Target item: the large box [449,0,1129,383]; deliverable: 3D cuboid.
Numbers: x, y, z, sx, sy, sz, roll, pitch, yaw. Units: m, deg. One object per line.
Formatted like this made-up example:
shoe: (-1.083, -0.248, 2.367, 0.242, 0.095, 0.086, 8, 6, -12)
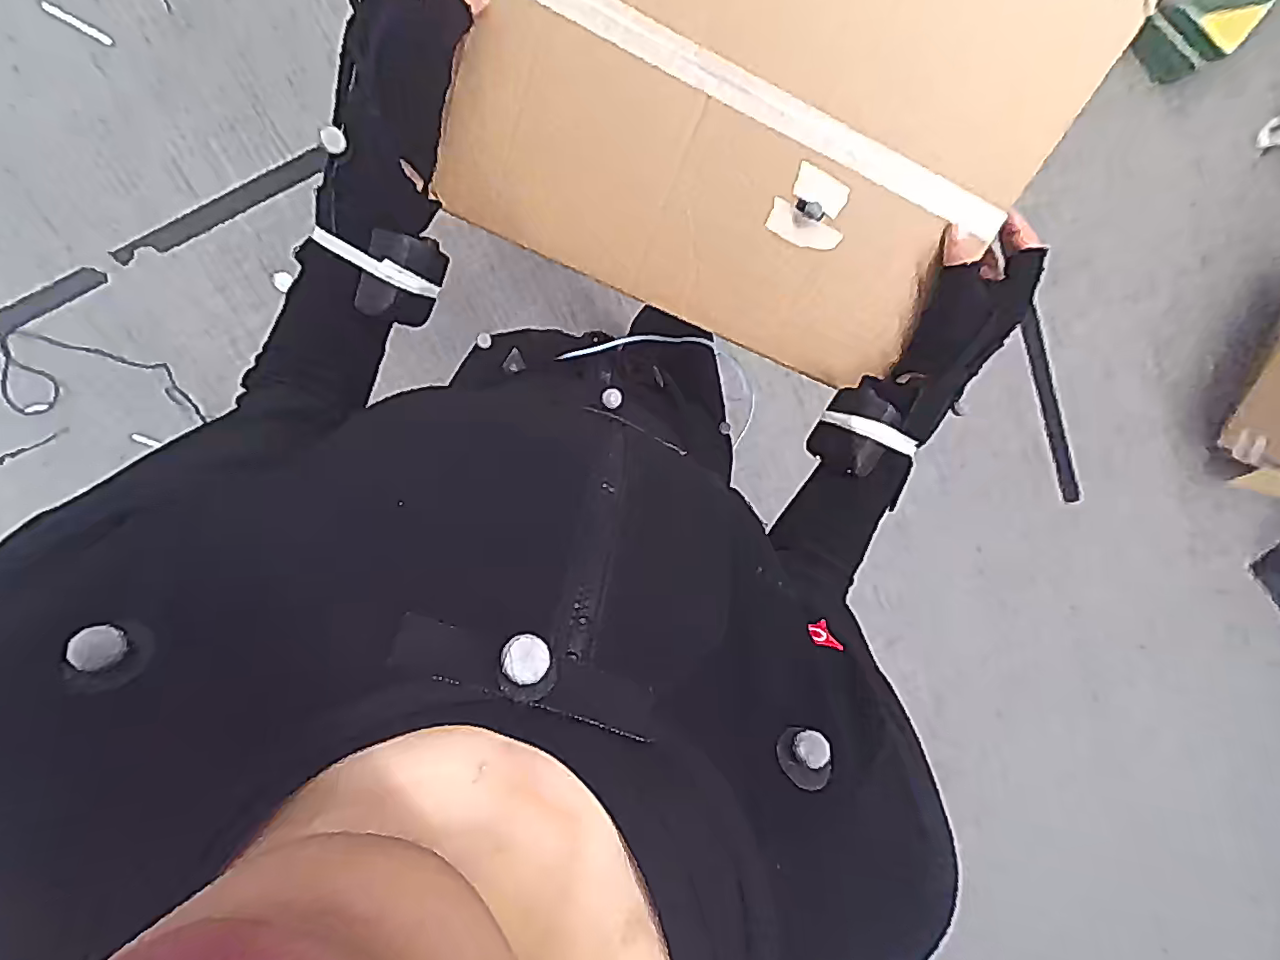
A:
large box: (0.088, -0.350, 0.518, 0.408, 0.320, 0.320, 21, 120, -12)
